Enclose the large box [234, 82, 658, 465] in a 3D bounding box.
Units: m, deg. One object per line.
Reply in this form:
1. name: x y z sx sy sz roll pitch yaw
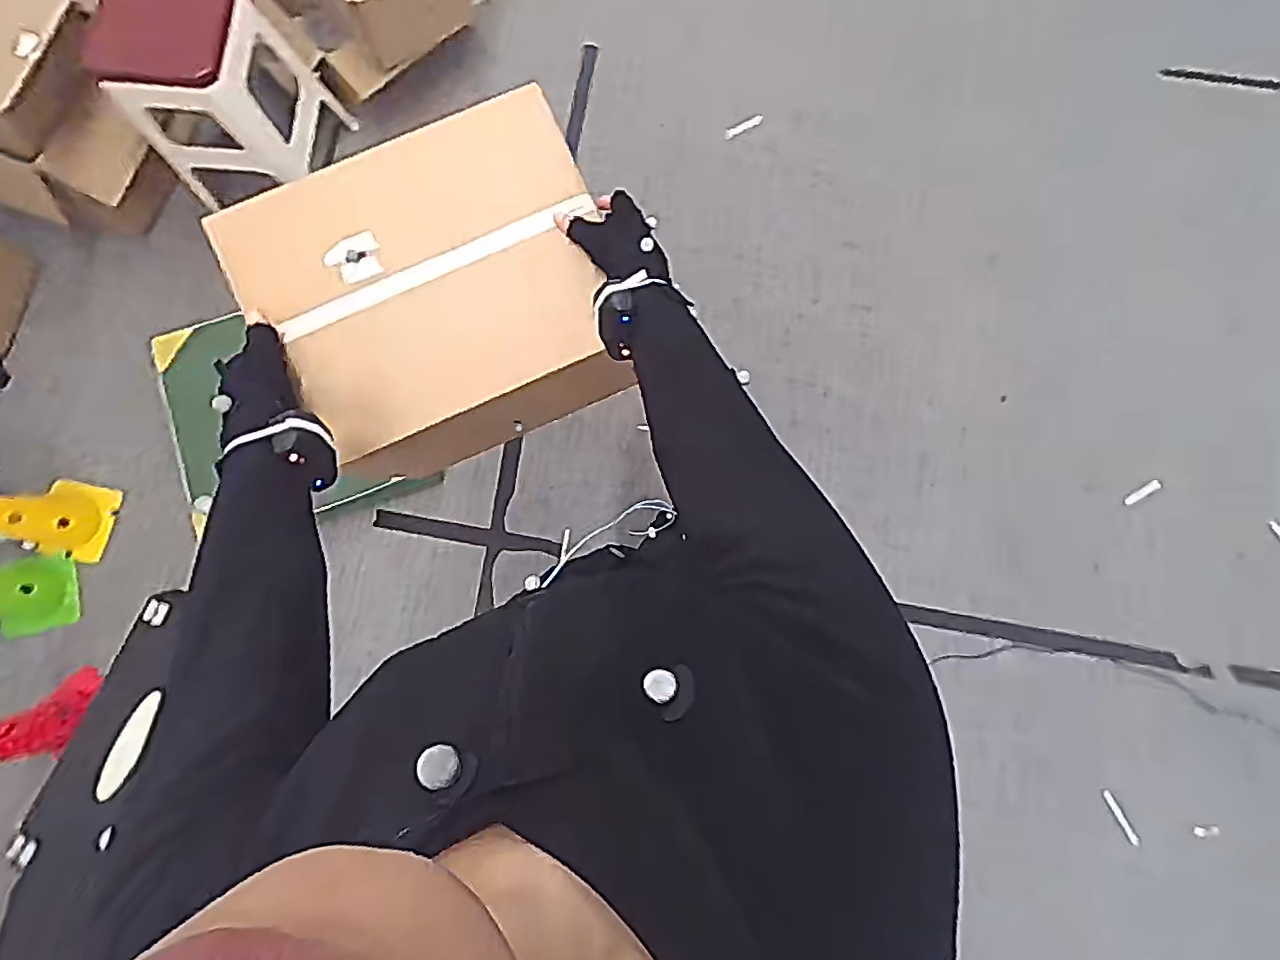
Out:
1. large box: -0.222 -0.241 0.763 0.408 0.320 0.320 -23 89 -2
